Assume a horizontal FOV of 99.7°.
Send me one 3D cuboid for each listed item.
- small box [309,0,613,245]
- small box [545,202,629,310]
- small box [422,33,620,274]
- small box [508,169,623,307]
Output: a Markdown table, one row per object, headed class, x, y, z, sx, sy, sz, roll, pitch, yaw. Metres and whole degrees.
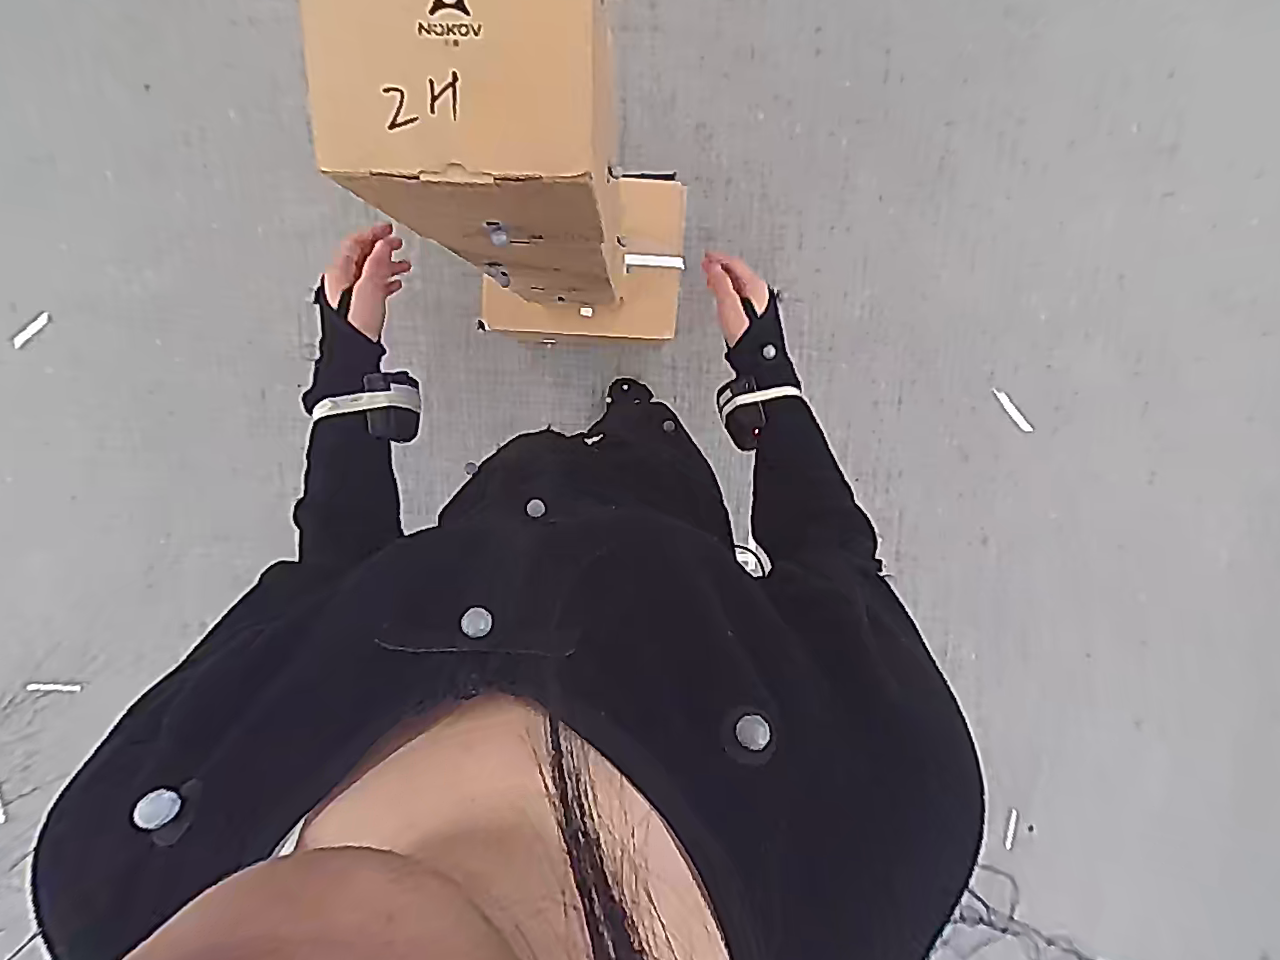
| class | x | y | z | sx | sy | sz | roll | pitch | yaw |
| --- | --- | --- | --- | --- | --- | --- | --- | --- | --- |
| small box | -0.106 | -0.283 | 0.387 | 0.168 | 0.176 | 0.179 | 1 | 102 | 0 |
| small box | -0.111 | -0.419 | 1.027 | 0.179 | 0.176 | 0.168 | 1 | 101 | -2 |
| small box | -0.109 | -0.316 | 0.548 | 0.168 | 0.176 | 0.179 | 4 | 101 | -2 |
| small box | -0.113 | -0.382 | 0.870 | 0.168 | 0.176 | 0.179 | 2 | 102 | -1 |
